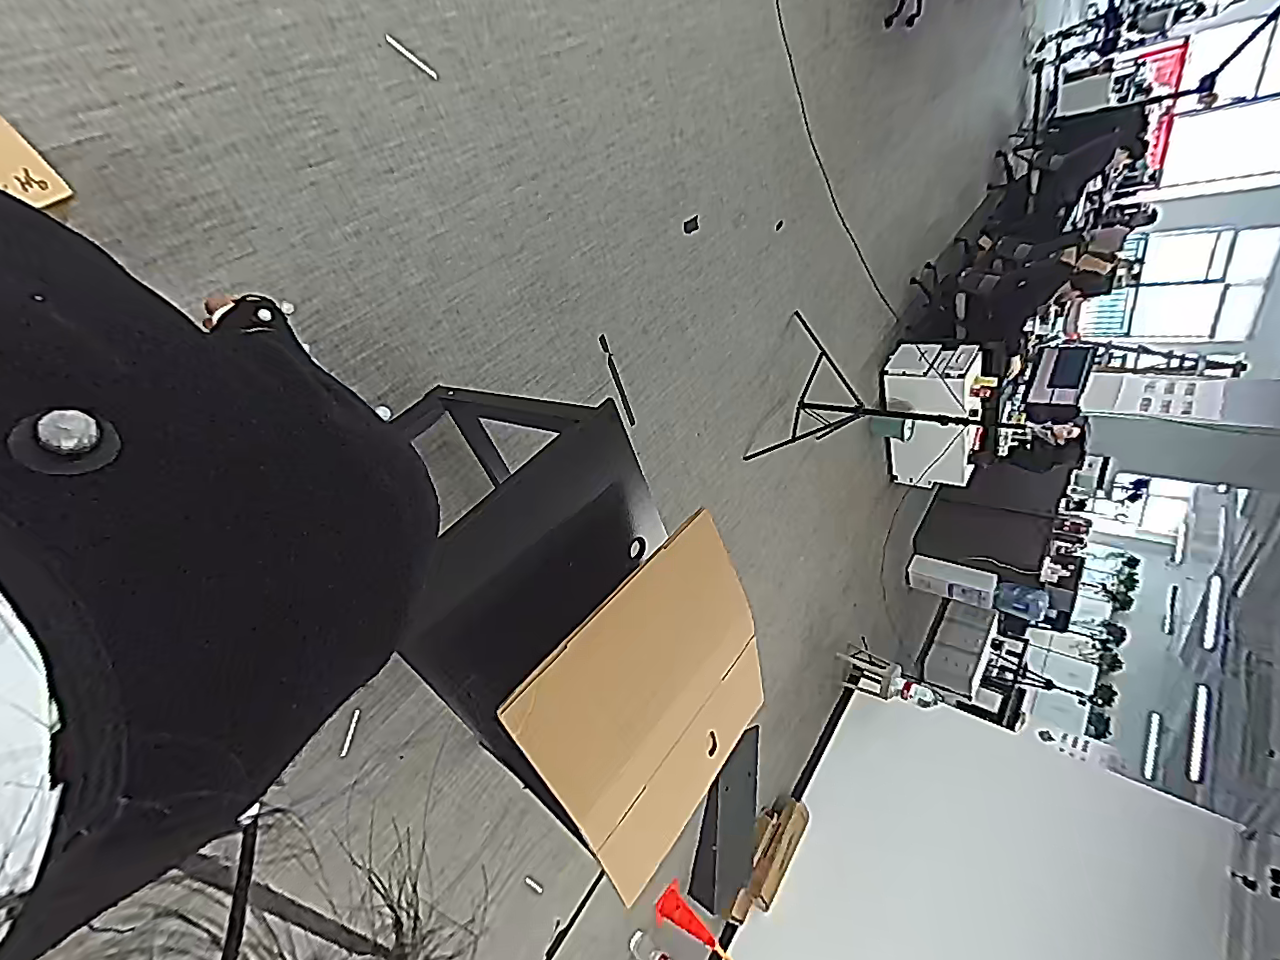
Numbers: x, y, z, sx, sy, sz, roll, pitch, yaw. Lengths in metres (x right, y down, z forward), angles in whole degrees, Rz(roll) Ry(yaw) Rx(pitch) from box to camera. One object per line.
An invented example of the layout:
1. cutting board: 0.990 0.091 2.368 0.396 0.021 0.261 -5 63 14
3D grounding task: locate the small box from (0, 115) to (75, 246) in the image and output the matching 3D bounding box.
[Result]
1. small box: -0.857 -0.384 0.654 0.168 0.176 0.179 -50 132 -28

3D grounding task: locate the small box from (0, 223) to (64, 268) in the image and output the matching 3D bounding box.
1. small box: -1.098 -0.433 0.867 0.179 0.176 0.168 -49 132 -27

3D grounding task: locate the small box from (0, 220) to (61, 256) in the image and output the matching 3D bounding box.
1. small box: -0.976 -0.411 0.763 0.179 0.176 0.168 -53 135 -26
